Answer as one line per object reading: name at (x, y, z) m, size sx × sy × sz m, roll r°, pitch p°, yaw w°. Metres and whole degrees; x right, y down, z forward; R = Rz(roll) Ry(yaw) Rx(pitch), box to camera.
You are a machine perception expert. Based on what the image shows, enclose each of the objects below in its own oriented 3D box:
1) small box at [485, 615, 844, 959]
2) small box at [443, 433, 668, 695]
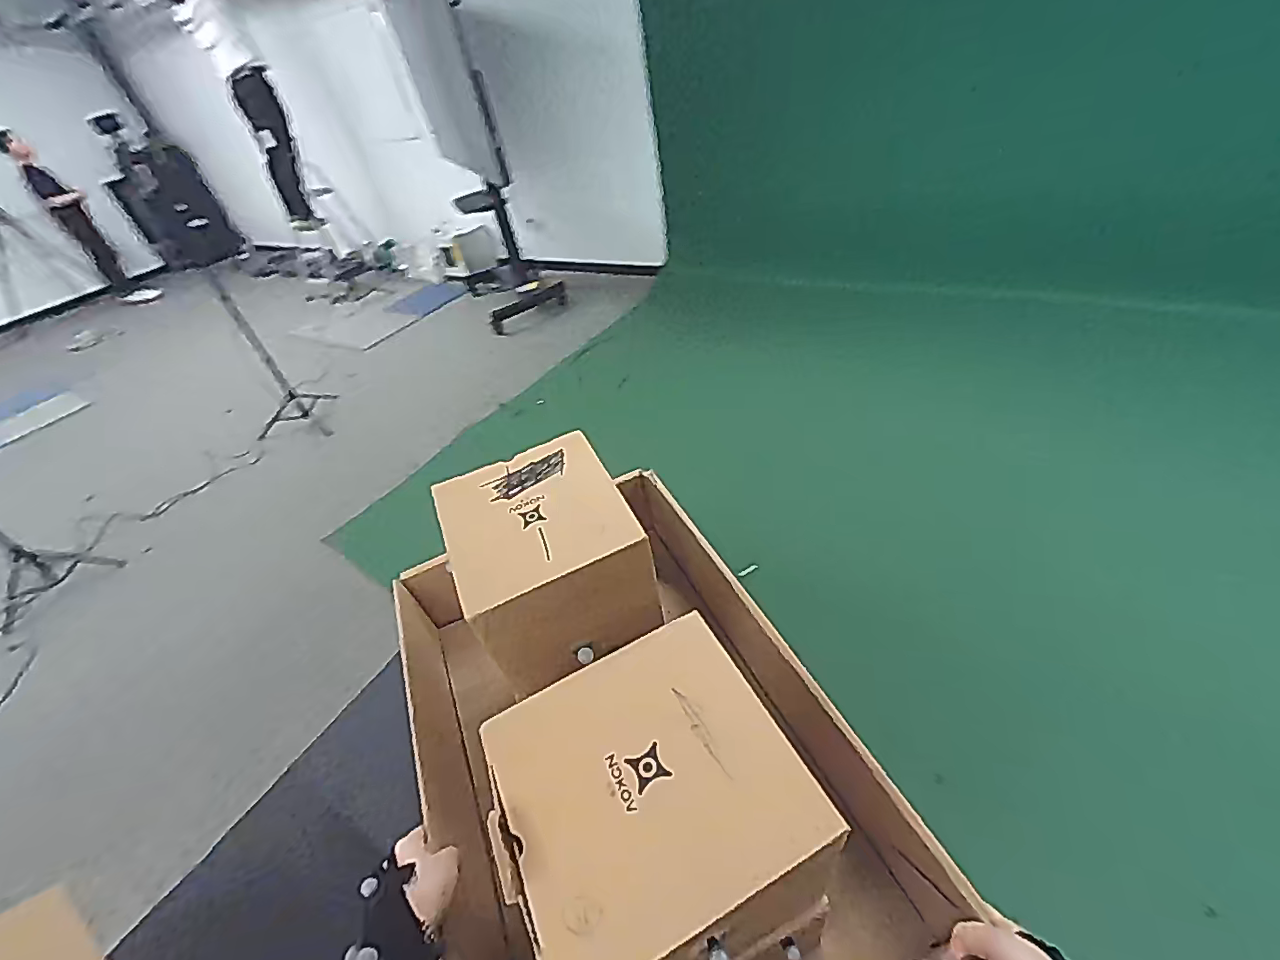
small box at (0.016, 0.238, 0.385) m, size 0.179 × 0.176 × 0.168 m, roll -24°, pitch 45°, yaw -13°
small box at (-0.084, 0.086, 0.562) m, size 0.168 × 0.176 × 0.179 m, roll -23°, pitch 46°, yaw -11°
